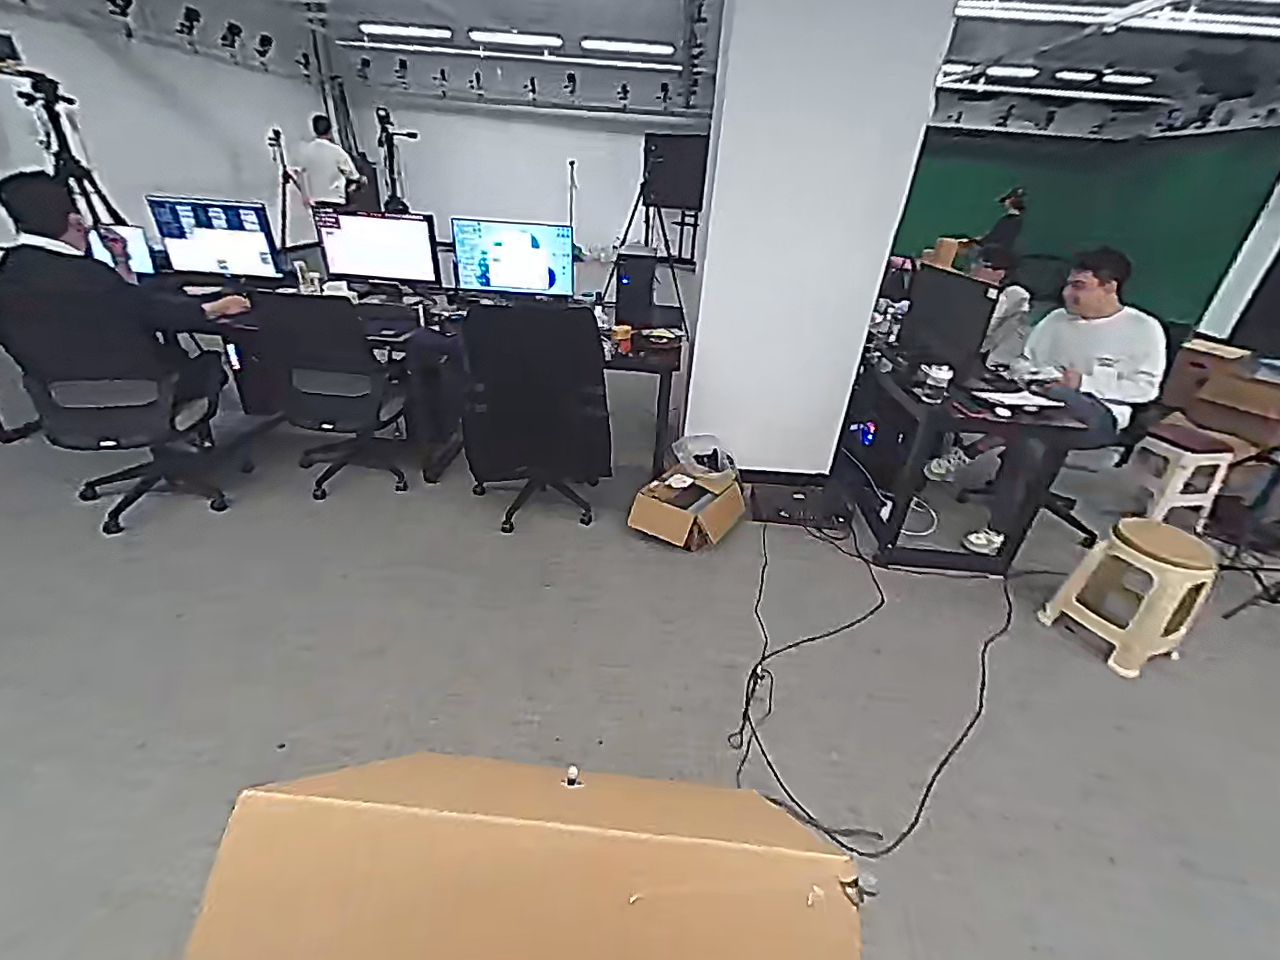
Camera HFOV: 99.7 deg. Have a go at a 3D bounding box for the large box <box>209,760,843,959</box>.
[{"bbox_3d":[-0.080,0.426,0.447,0.408,0.320,0.320,5,69,1],"label":"large box"}]
